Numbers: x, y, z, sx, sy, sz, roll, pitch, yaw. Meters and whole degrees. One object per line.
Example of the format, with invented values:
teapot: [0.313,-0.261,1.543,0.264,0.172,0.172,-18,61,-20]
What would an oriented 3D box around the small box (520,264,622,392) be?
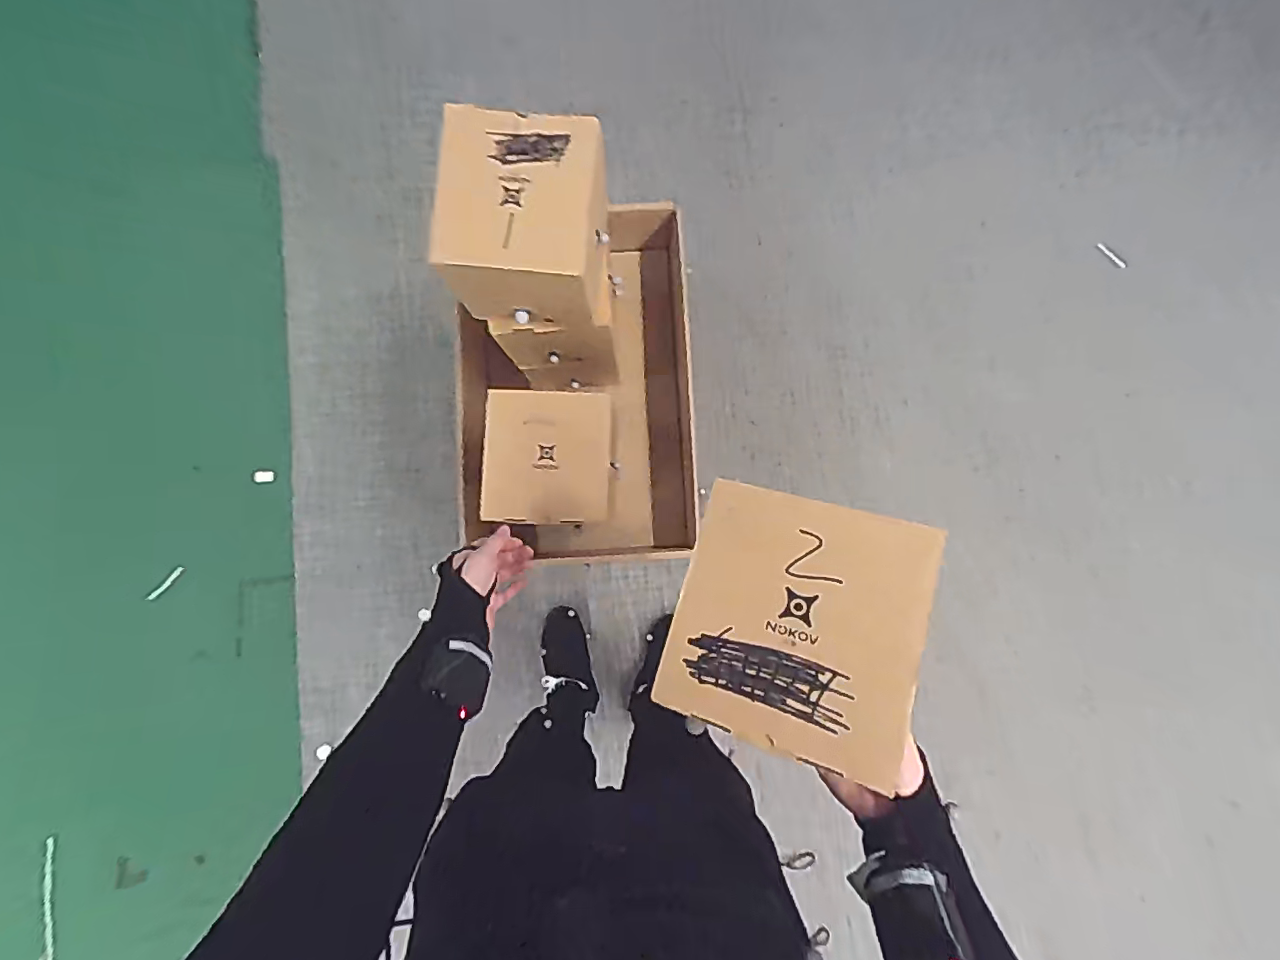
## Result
small box: [-0.121,-0.269,0.981,0.168,0.176,0.179,-4,85,1]

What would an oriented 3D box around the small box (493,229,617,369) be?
small box: [-0.123,-0.281,0.819,0.168,0.176,0.179,-4,85,0]

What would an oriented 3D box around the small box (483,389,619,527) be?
small box: [-0.118,-0.023,0.788,0.168,0.176,0.179,3,83,0]

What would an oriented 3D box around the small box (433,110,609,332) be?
small box: [-0.130,-0.299,0.656,0.168,0.176,0.179,5,86,1]
